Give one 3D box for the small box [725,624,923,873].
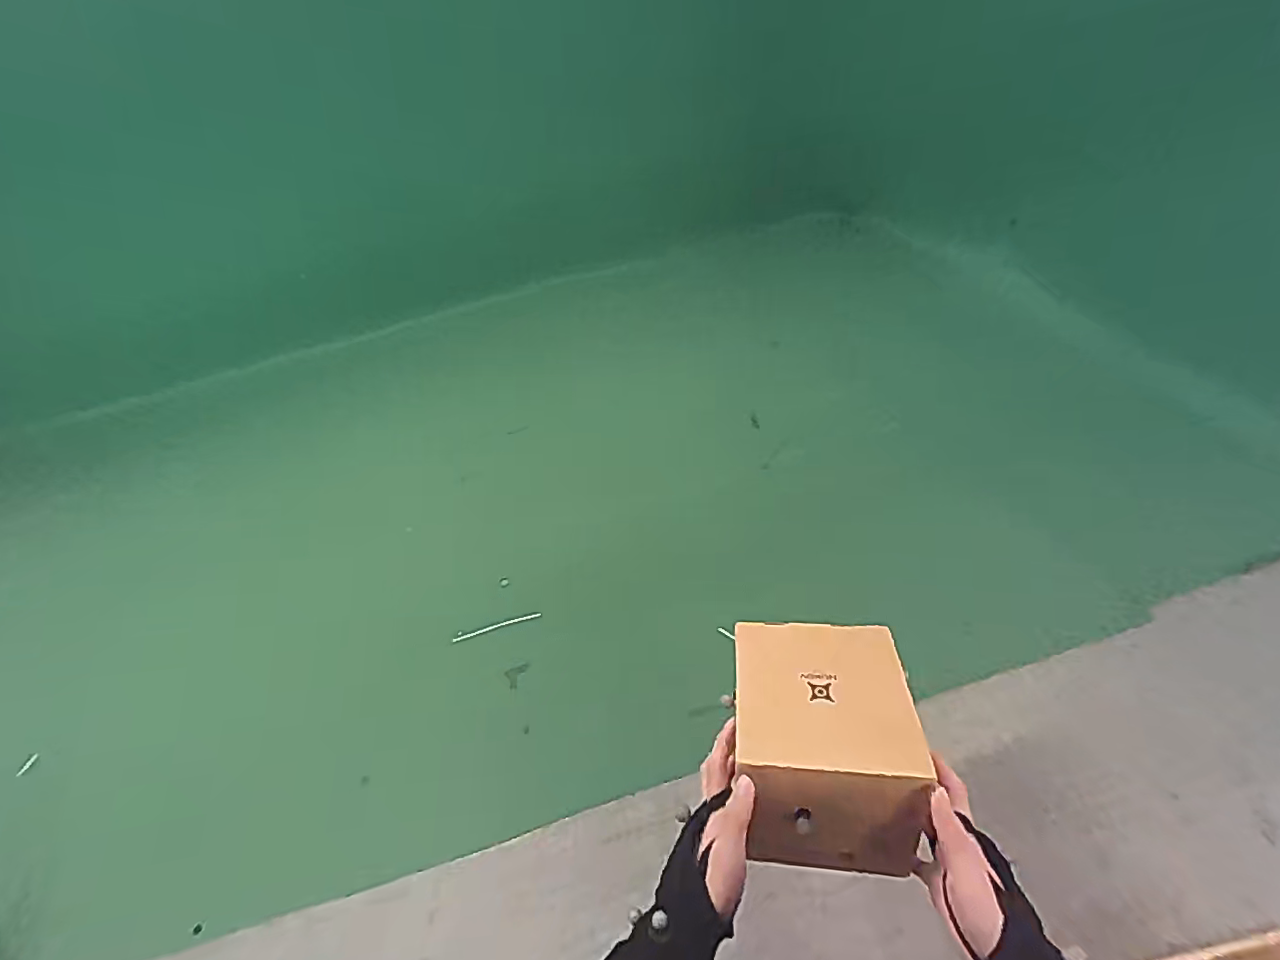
[{"bbox_3d":[0.177,0.274,0.567,0.168,0.176,0.179,-2,29,10],"label":"small box"}]
